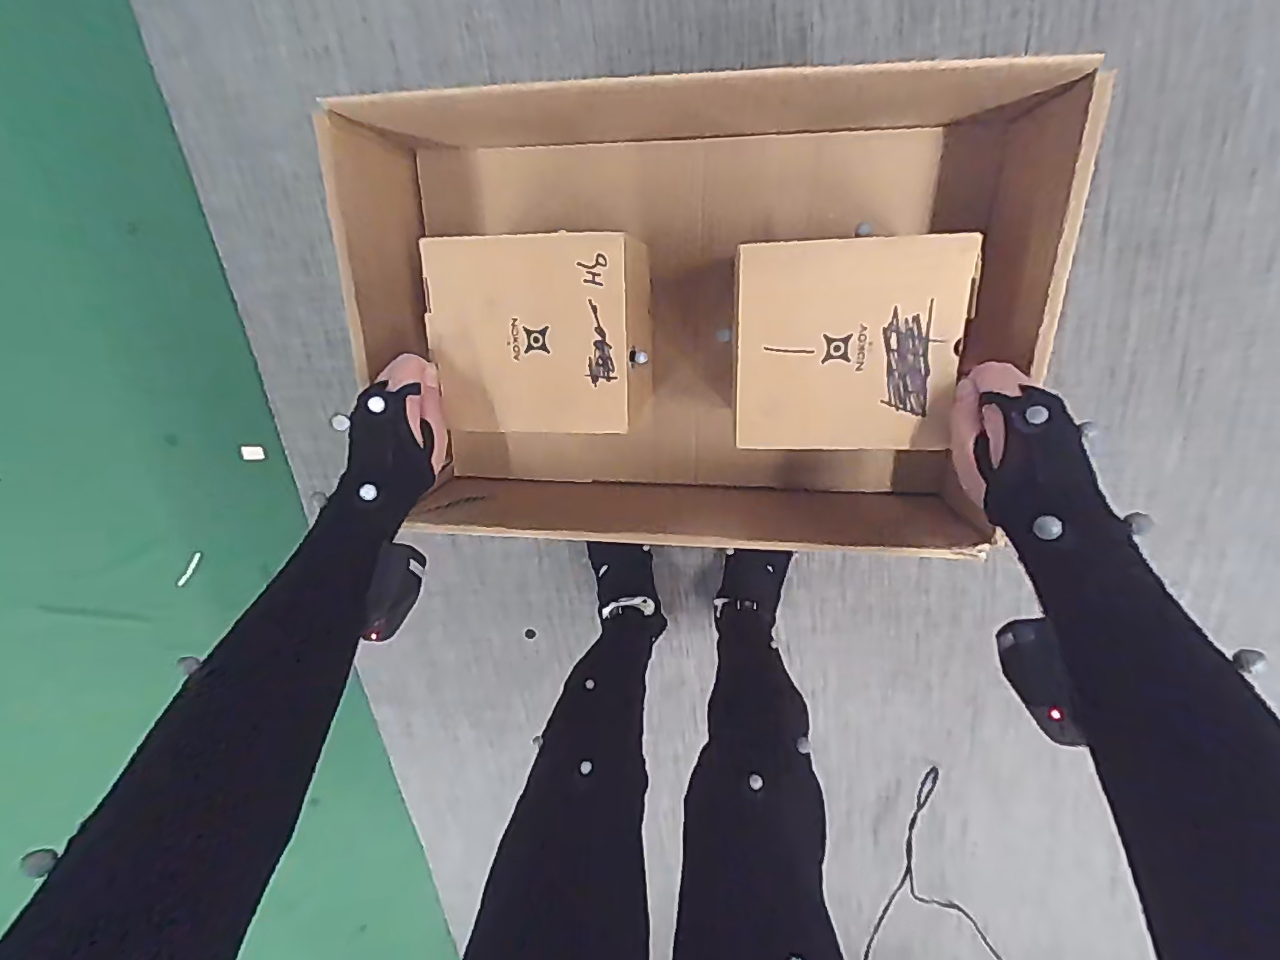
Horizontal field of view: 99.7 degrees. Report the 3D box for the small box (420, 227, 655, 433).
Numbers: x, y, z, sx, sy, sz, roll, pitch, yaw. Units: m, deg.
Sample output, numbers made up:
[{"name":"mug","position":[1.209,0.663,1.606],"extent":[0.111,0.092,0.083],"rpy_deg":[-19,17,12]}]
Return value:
[{"name":"small box","position":[-0.084,-0.146,0.529],"extent":[0.179,0.176,0.168],"rpy_deg":[2,108,8]}]
